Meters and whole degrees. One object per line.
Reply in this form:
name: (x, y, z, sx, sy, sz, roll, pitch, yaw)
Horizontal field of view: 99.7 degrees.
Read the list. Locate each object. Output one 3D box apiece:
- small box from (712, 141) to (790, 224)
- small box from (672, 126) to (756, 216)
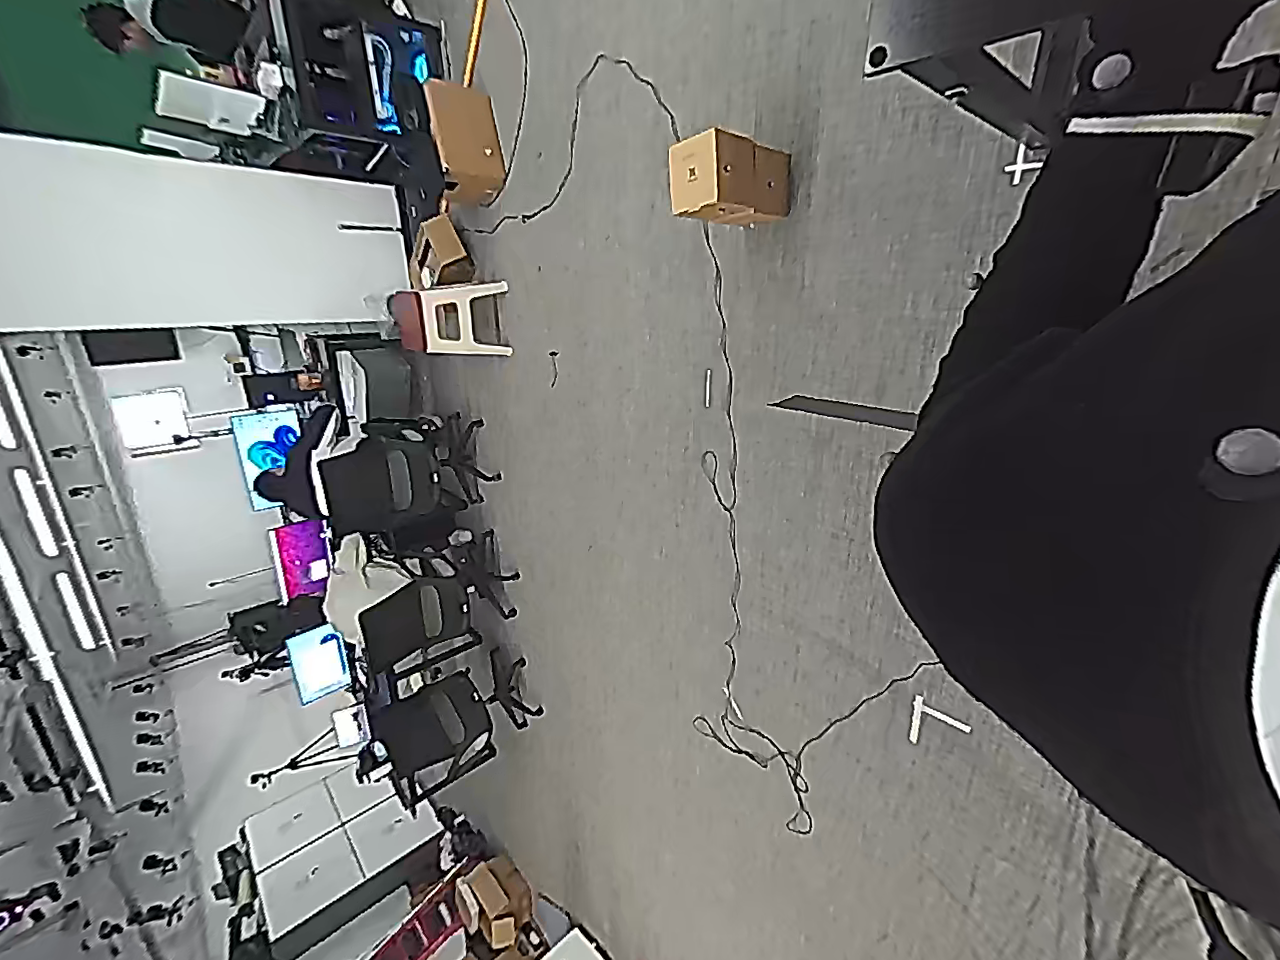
small box: (0.328, -0.867, 1.591, 0.168, 0.176, 0.179, 15, 114, 46)
small box: (0.206, -0.837, 1.487, 0.168, 0.176, 0.179, 10, 109, 46)
